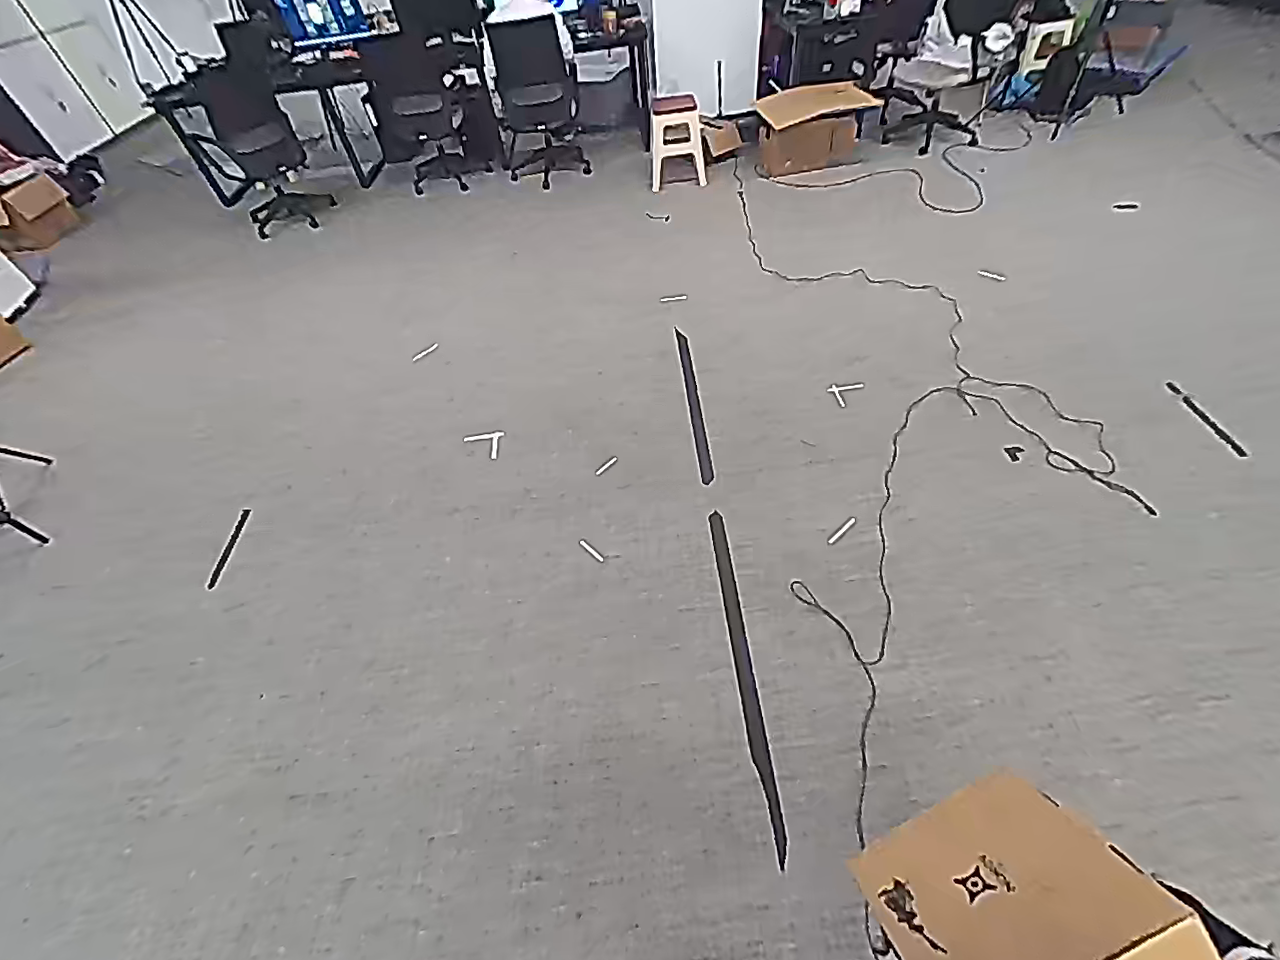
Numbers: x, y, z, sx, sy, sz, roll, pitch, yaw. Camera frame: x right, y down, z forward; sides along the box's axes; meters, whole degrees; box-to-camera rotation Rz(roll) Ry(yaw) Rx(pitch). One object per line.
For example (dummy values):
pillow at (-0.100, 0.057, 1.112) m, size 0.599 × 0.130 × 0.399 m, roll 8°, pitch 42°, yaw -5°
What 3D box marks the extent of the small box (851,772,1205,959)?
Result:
small box at (0.312, 0.388, 0.431) m, size 0.179 × 0.168 × 0.176 m, roll -29°, pitch 91°, yaw -1°
